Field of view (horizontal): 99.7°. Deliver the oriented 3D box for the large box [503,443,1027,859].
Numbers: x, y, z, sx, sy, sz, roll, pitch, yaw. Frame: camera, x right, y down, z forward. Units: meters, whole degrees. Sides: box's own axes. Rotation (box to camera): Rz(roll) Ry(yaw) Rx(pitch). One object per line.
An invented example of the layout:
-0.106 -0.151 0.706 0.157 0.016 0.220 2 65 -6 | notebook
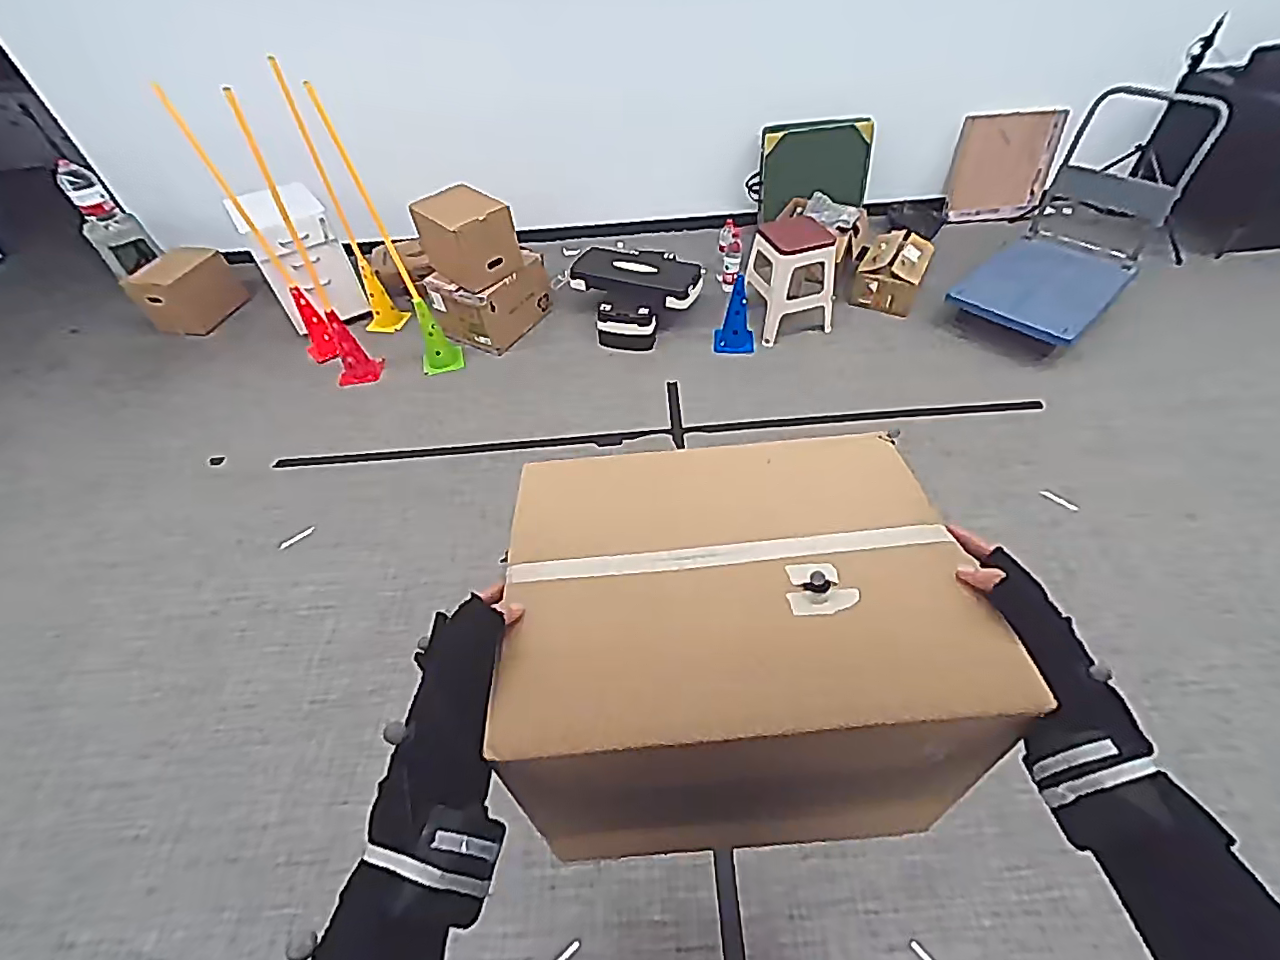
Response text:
0.092 0.189 0.608 0.408 0.320 0.320 -5 44 0 | large box
